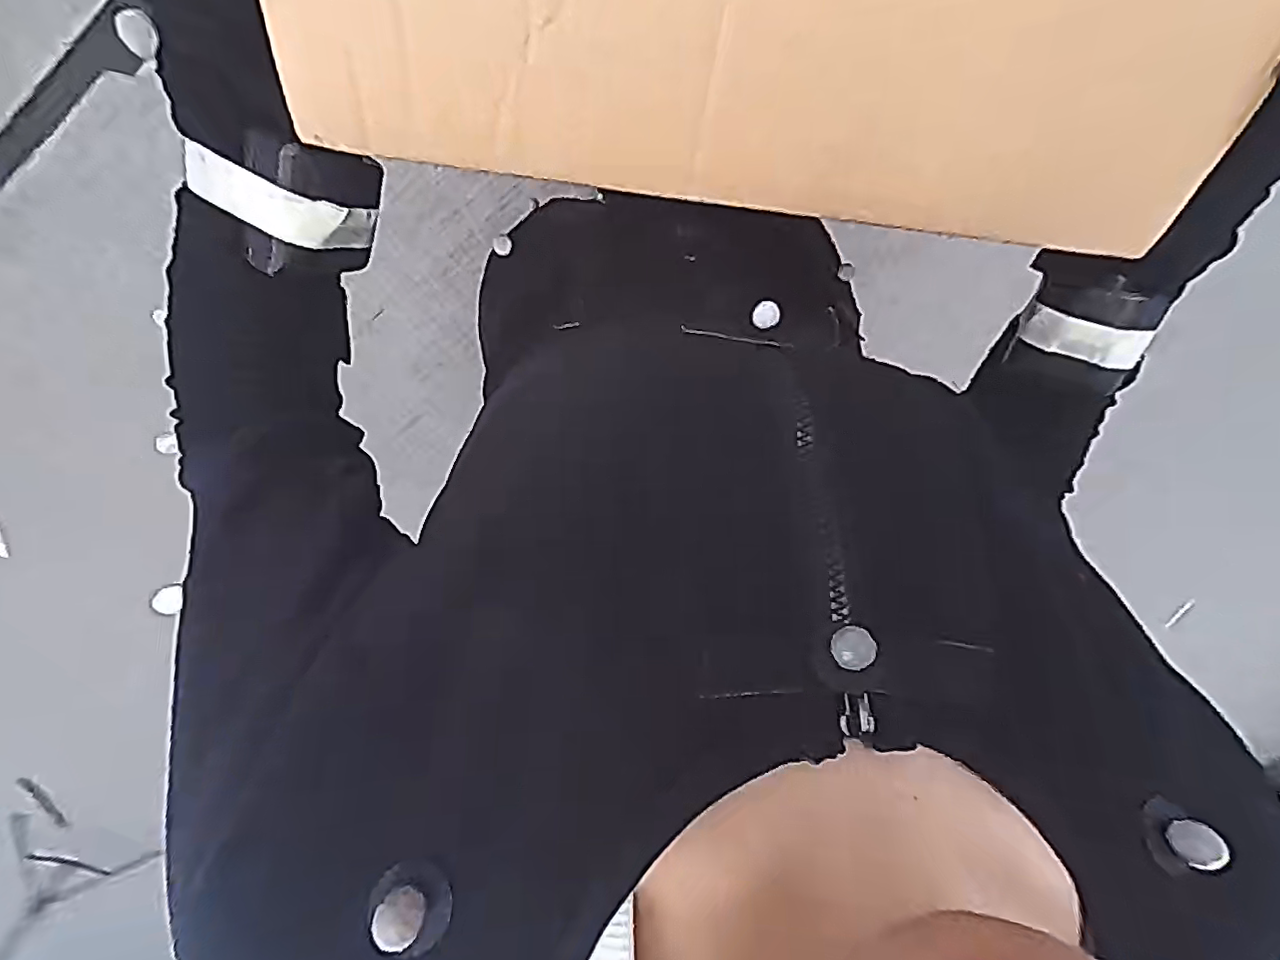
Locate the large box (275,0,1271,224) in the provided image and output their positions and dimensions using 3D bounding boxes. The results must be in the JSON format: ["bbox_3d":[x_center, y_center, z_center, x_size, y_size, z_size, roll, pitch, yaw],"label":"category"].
[{"bbox_3d":[0.062,-0.352,0.261,0.408,0.320,0.320,2,133,-8],"label":"large box"}]
